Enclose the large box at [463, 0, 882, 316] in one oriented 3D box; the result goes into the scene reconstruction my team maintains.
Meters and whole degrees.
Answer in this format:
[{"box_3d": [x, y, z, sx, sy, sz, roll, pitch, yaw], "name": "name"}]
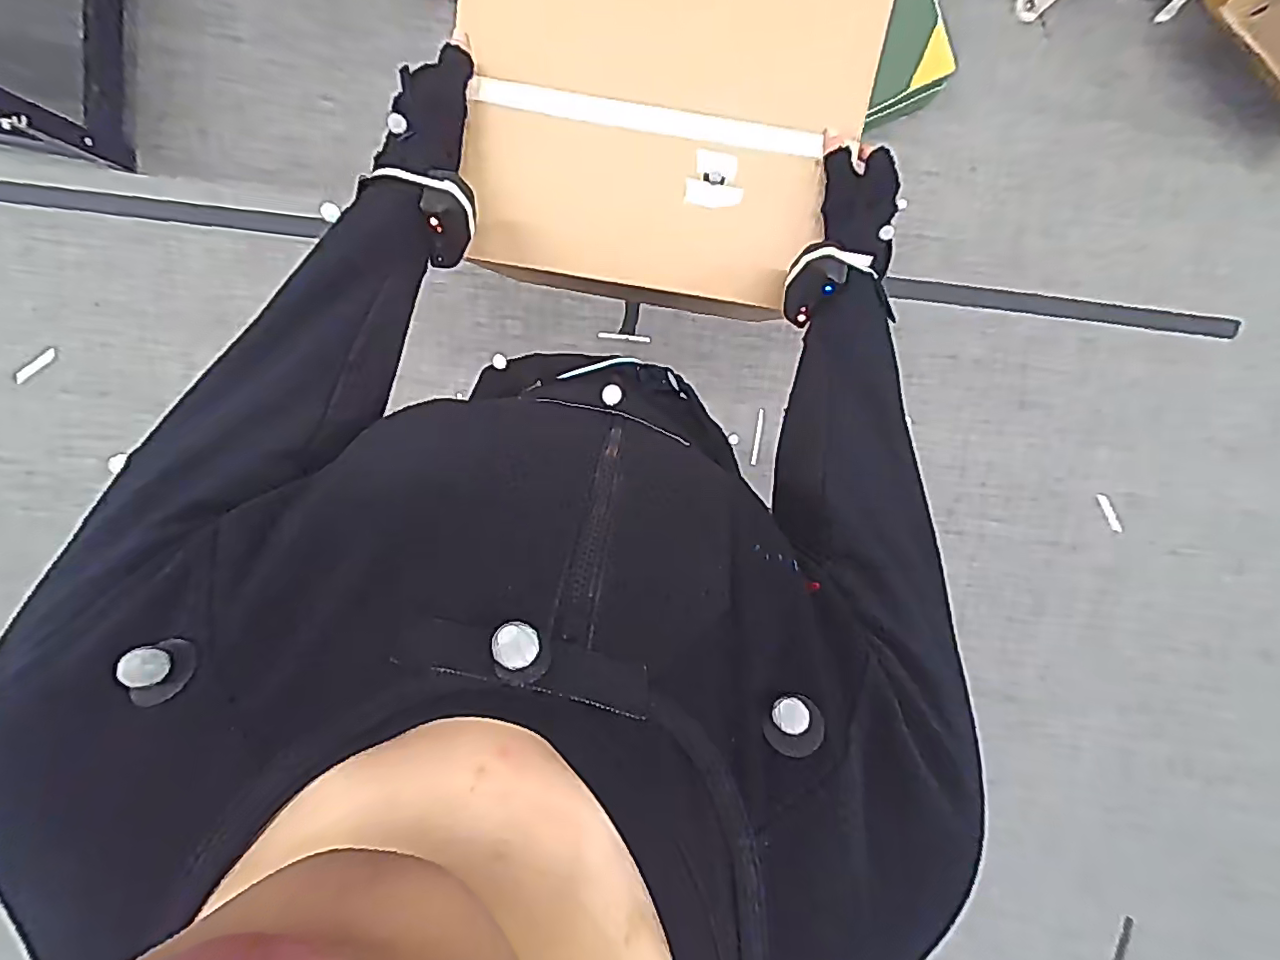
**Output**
[{"box_3d": [0.019, -0.401, 0.700, 0.408, 0.320, 0.320, 8, 106, -3], "name": "large box"}]
